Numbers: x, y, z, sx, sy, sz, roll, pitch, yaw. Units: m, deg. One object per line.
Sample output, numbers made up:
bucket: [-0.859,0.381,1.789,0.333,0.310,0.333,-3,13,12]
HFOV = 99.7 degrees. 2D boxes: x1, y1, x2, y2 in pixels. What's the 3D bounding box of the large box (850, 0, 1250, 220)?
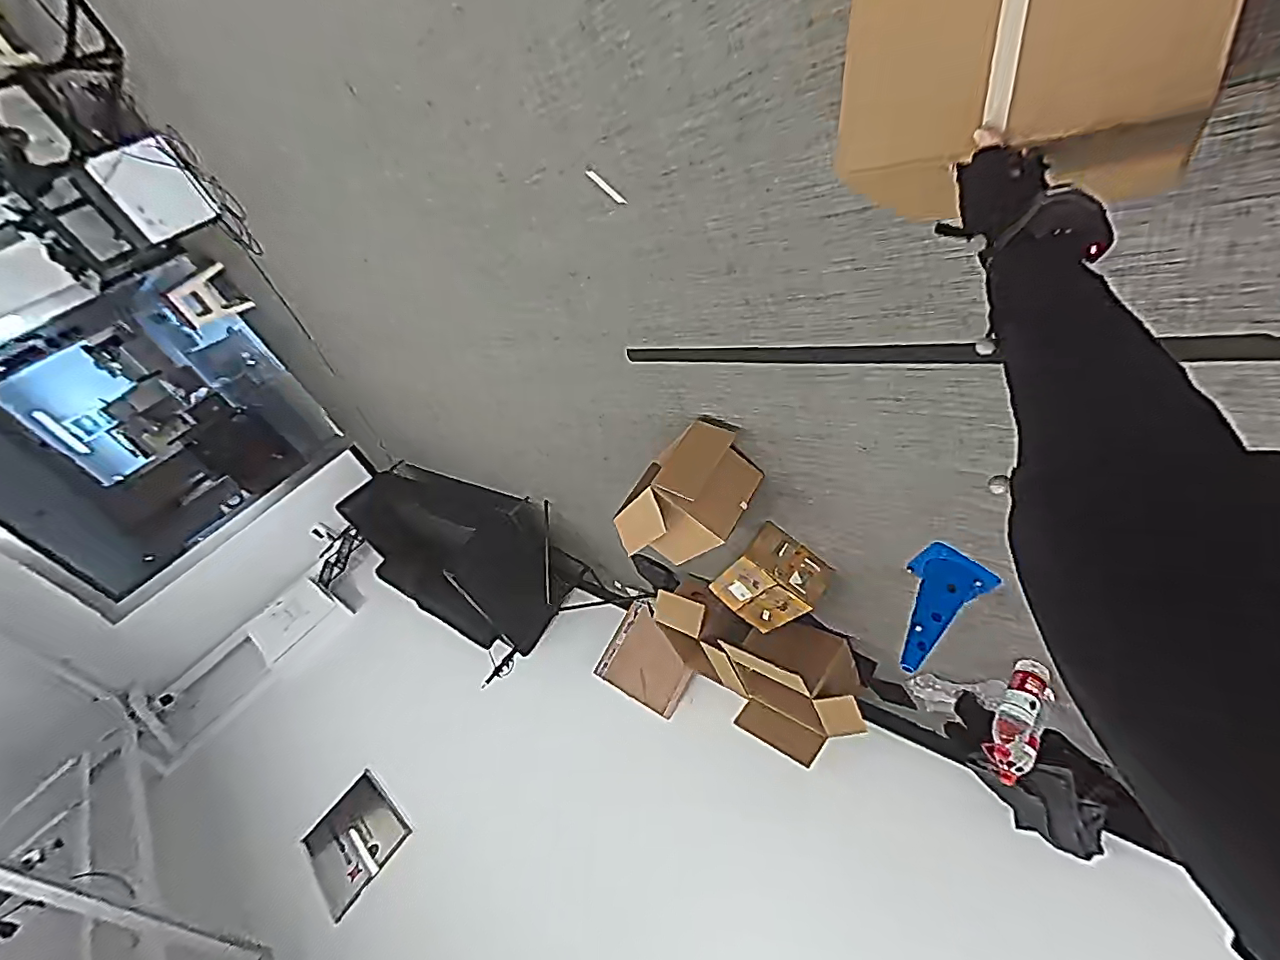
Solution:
large box: [0.462,-0.547,0.600,0.320,0.320,0.408,14,110,39]
